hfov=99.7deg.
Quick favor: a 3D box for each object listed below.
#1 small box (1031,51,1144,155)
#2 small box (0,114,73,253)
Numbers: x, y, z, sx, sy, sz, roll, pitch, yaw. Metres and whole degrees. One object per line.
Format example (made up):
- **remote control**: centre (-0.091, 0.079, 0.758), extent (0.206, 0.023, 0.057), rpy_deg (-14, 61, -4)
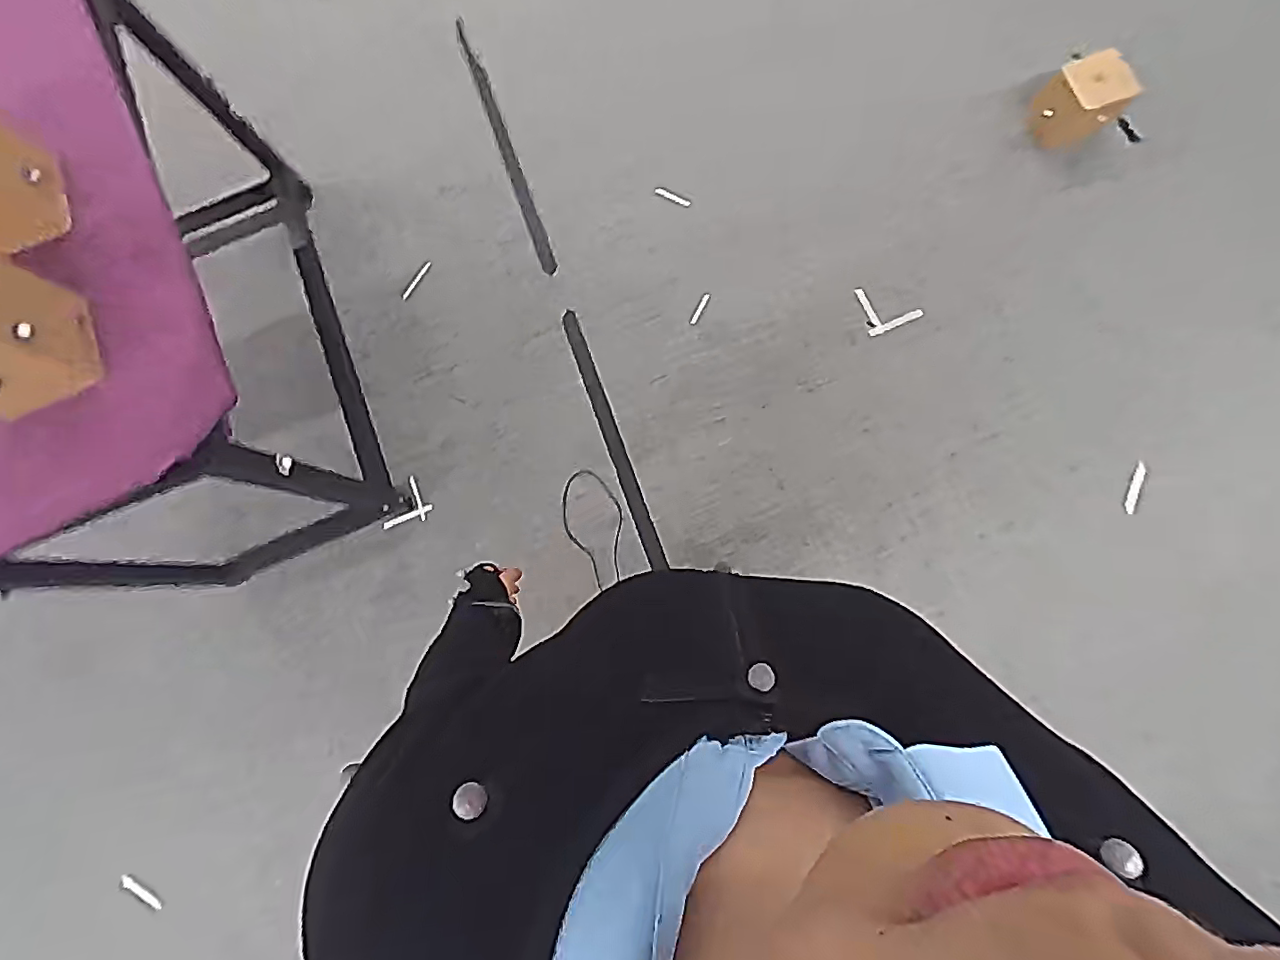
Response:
- **small box**: centre (1.324, -1.119, 1.620), extent (0.179, 0.176, 0.168), rpy_deg (-19, 80, -1)
- **small box**: centre (-1.118, -0.507, 0.897), extent (0.179, 0.176, 0.168), rpy_deg (-22, 79, -1)
